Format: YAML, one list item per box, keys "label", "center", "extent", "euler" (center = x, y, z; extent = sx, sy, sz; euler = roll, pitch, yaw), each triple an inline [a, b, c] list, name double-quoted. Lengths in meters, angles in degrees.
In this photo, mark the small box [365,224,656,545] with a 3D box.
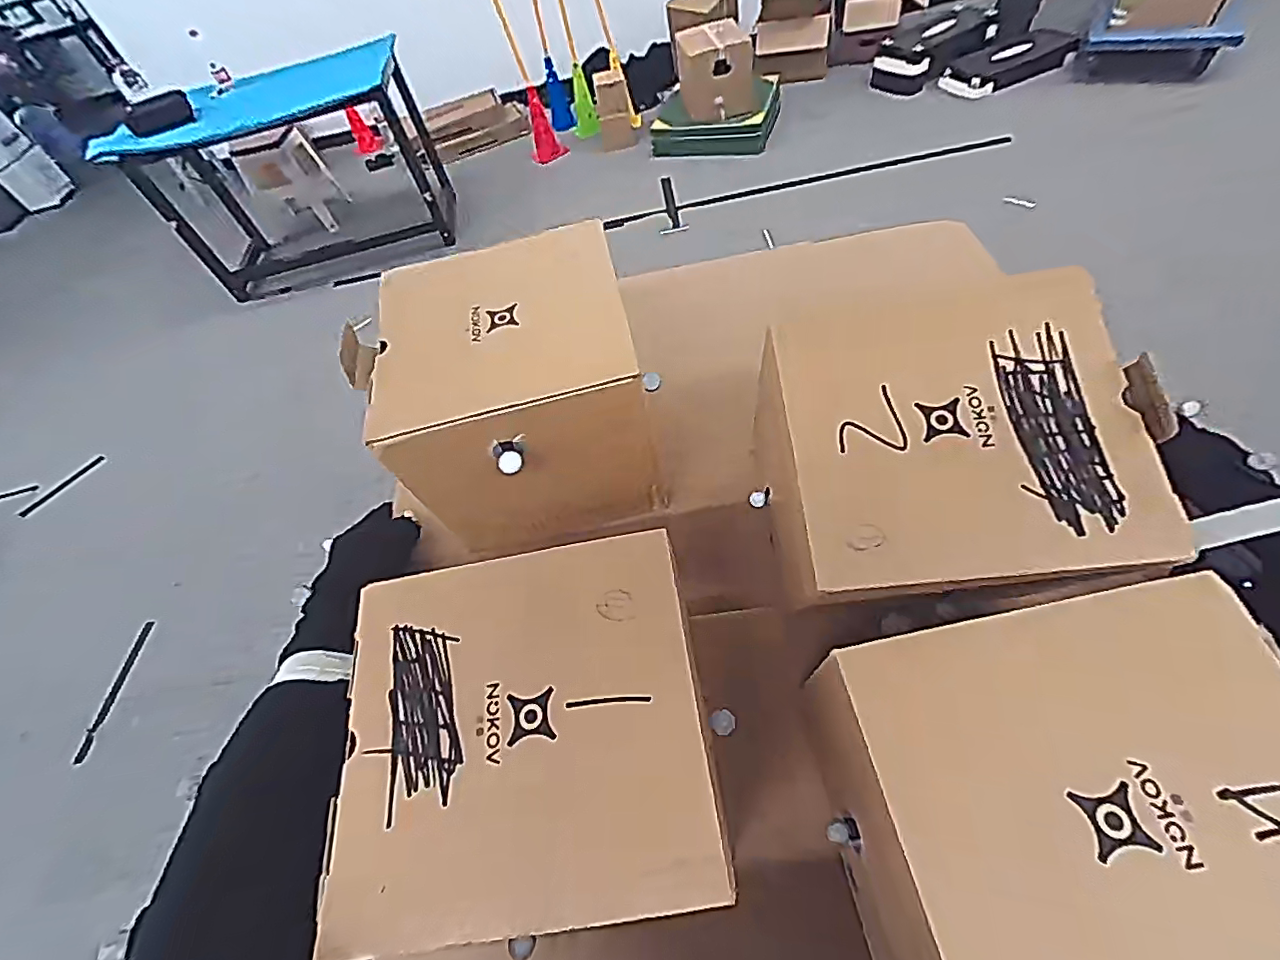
- label: "small box"
  center: [-0.088, -0.067, 0.440]
  extent: [0.179, 0.176, 0.168]
  euler: [-14, 58, 2]
